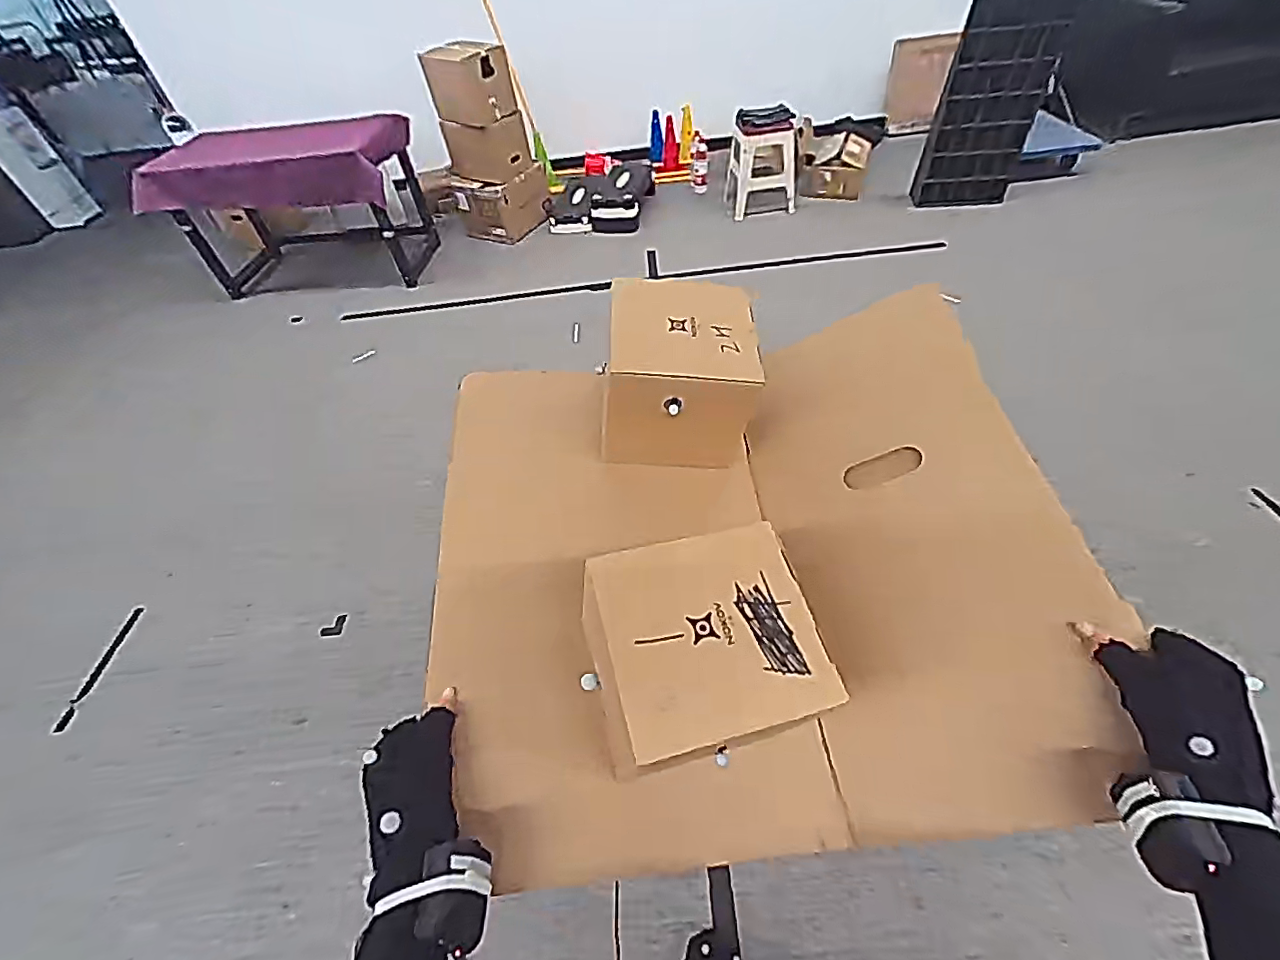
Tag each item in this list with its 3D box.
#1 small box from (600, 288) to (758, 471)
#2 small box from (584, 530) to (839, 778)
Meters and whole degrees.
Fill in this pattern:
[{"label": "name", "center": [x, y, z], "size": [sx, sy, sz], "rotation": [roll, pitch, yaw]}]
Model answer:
[{"label": "small box", "center": [0.039, -0.126, 0.710], "size": [0.179, 0.176, 0.168], "rotation": [4, 57, -6]}, {"label": "small box", "center": [0.048, 0.169, 0.517], "size": [0.179, 0.176, 0.168], "rotation": [-10, 59, -13]}]
